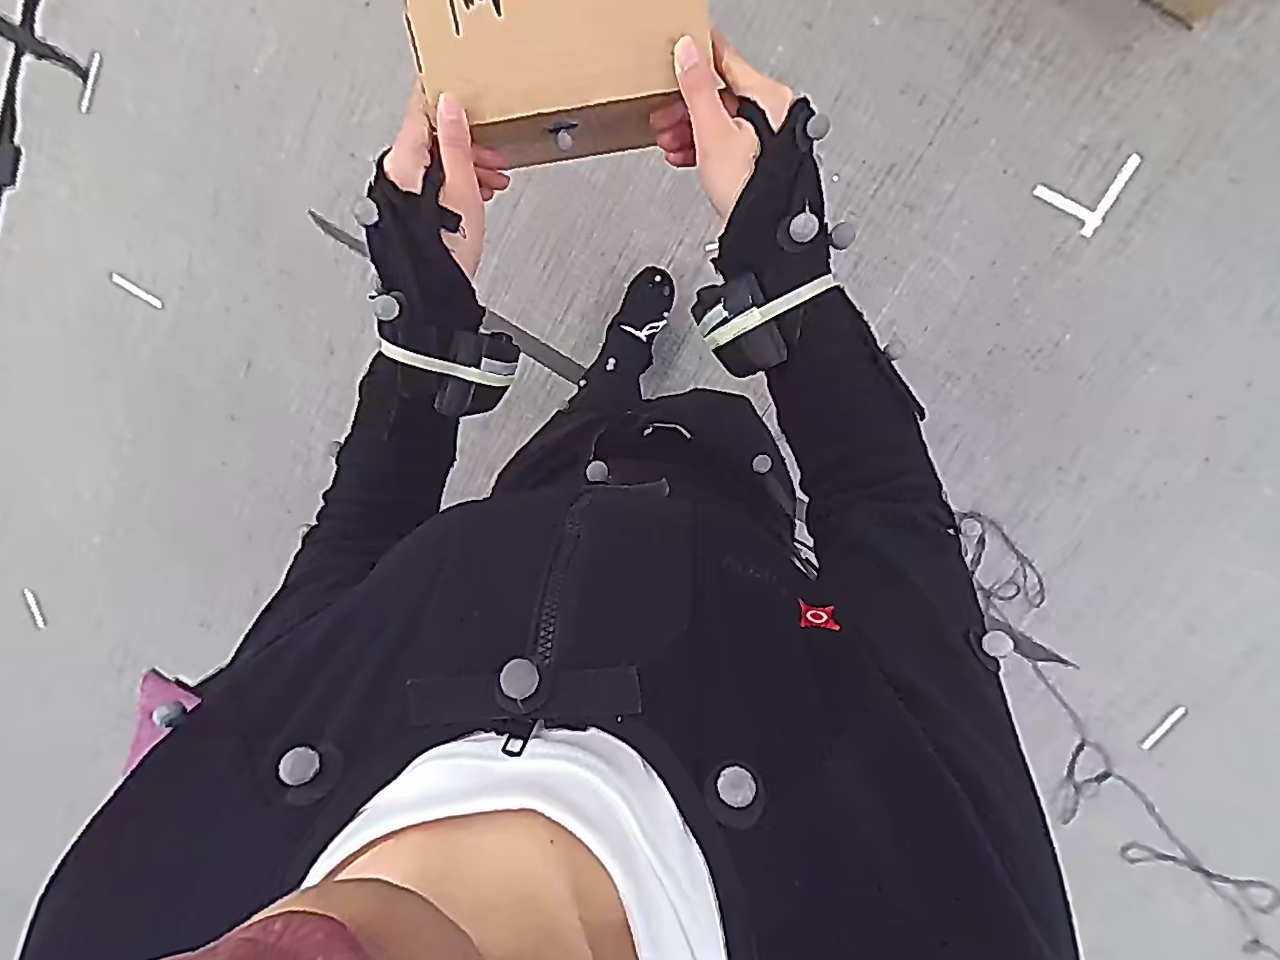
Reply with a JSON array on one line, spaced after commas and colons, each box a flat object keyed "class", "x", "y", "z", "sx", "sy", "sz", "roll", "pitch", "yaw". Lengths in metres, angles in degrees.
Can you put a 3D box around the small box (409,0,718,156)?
[{"class": "small box", "x": -0.047, "y": -0.336, "z": 0.367, "sx": 0.179, "sy": 0.176, "sz": 0.168, "roll": -7, "pitch": 112, "yaw": 3}]
